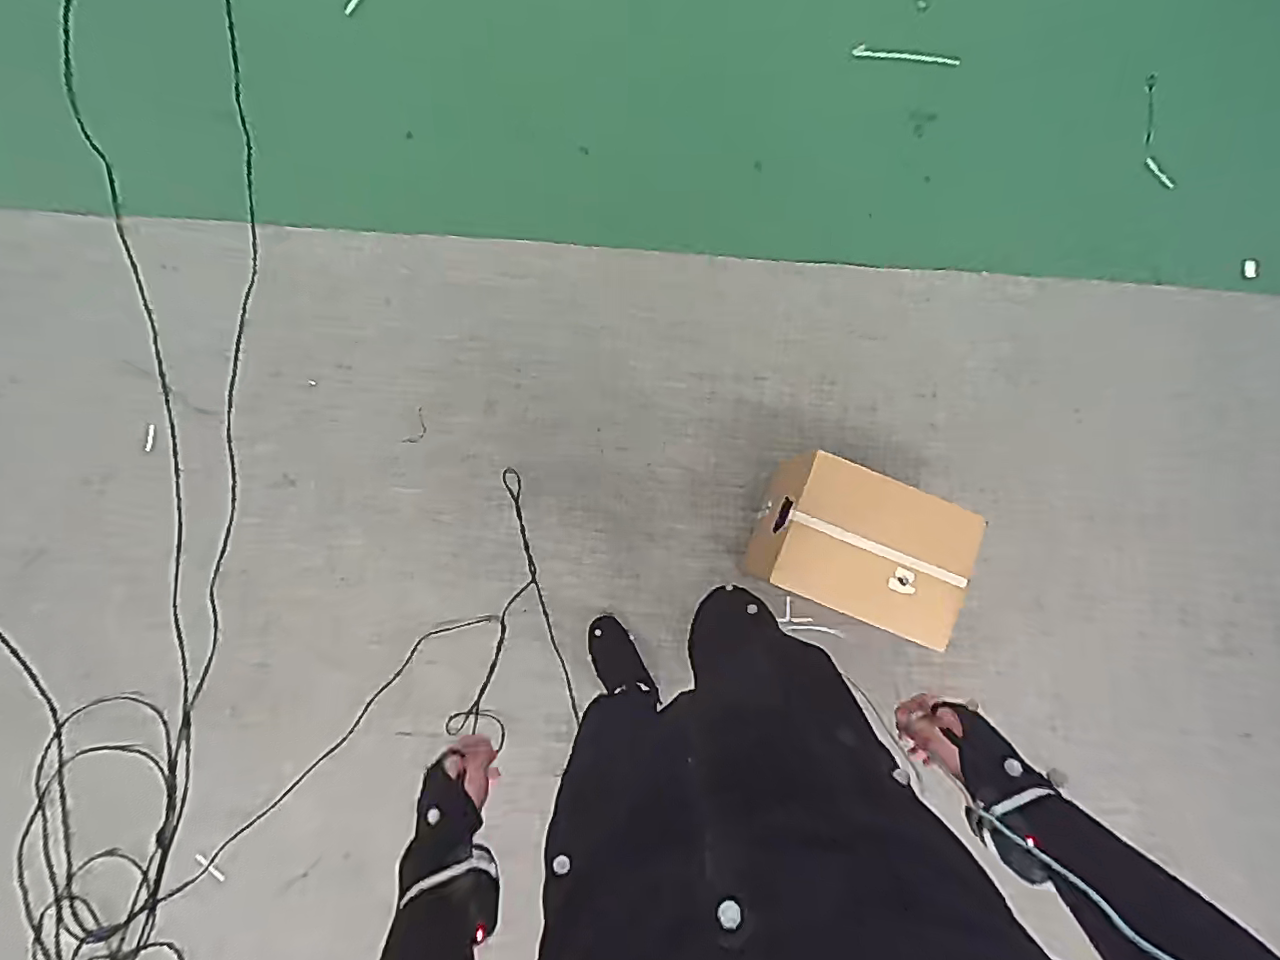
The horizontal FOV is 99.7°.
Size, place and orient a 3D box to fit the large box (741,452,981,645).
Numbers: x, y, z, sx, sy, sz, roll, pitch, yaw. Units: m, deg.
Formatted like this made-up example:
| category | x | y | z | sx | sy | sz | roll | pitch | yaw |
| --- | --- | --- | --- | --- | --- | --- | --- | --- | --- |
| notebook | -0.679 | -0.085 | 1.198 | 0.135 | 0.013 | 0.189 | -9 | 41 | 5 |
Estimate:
| category | x | y | z | sx | sy | sz | roll | pitch | yaw |
| --- | --- | --- | --- | --- | --- | --- | --- | --- | --- |
| large box | 0.508 | 0.162 | 1.318 | 0.408 | 0.320 | 0.320 | 22 | 84 | 0 |
